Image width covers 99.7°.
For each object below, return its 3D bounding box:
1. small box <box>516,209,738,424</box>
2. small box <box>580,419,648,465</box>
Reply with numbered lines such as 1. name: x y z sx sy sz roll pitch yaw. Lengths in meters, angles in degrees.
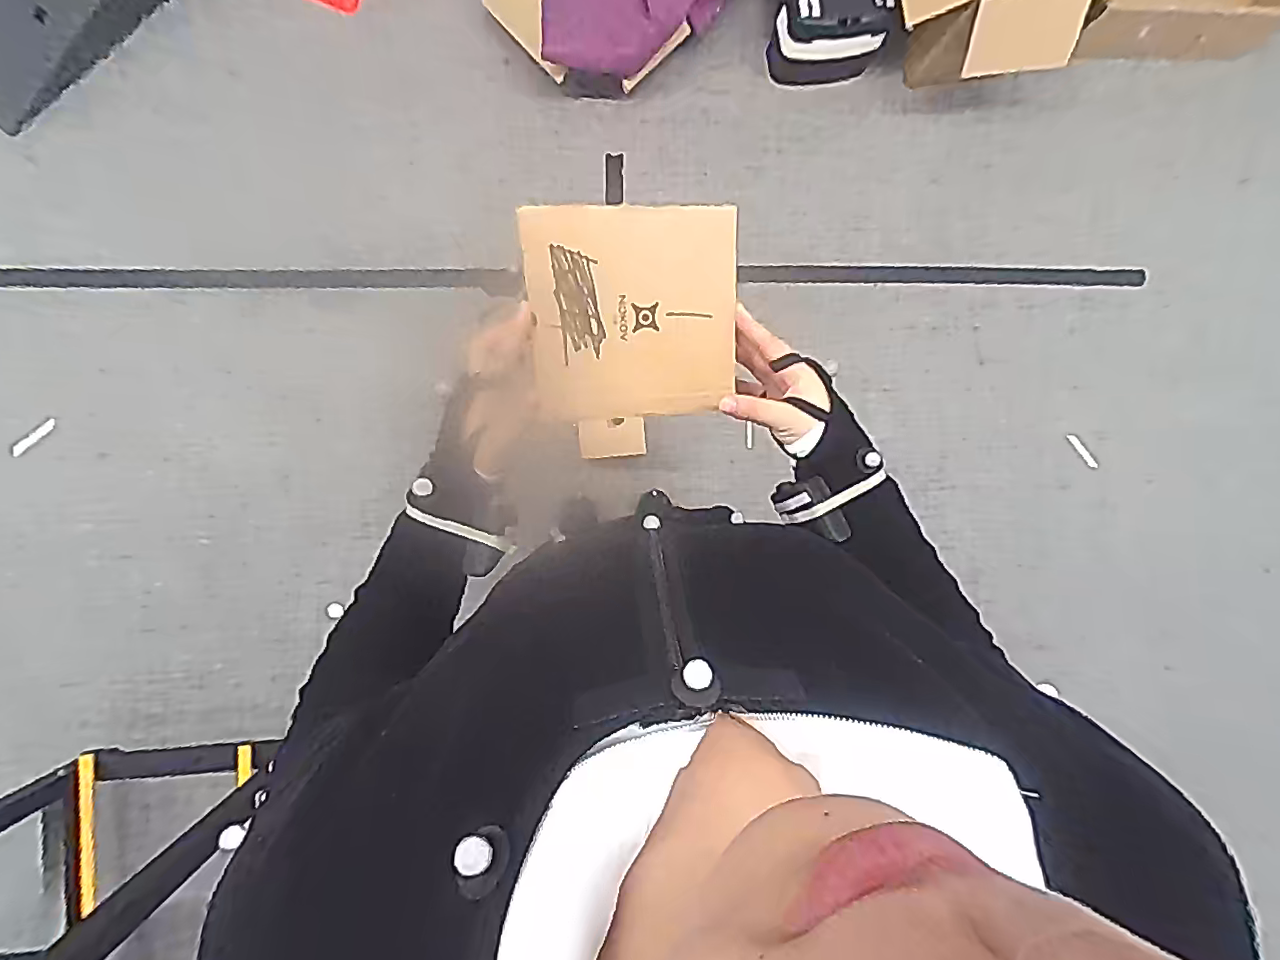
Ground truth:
1. small box: -0.019 -0.148 0.512 0.179 0.176 0.168 -5 105 -10
2. small box: -0.074 -0.135 1.425 0.168 0.176 0.179 -6 91 -3
